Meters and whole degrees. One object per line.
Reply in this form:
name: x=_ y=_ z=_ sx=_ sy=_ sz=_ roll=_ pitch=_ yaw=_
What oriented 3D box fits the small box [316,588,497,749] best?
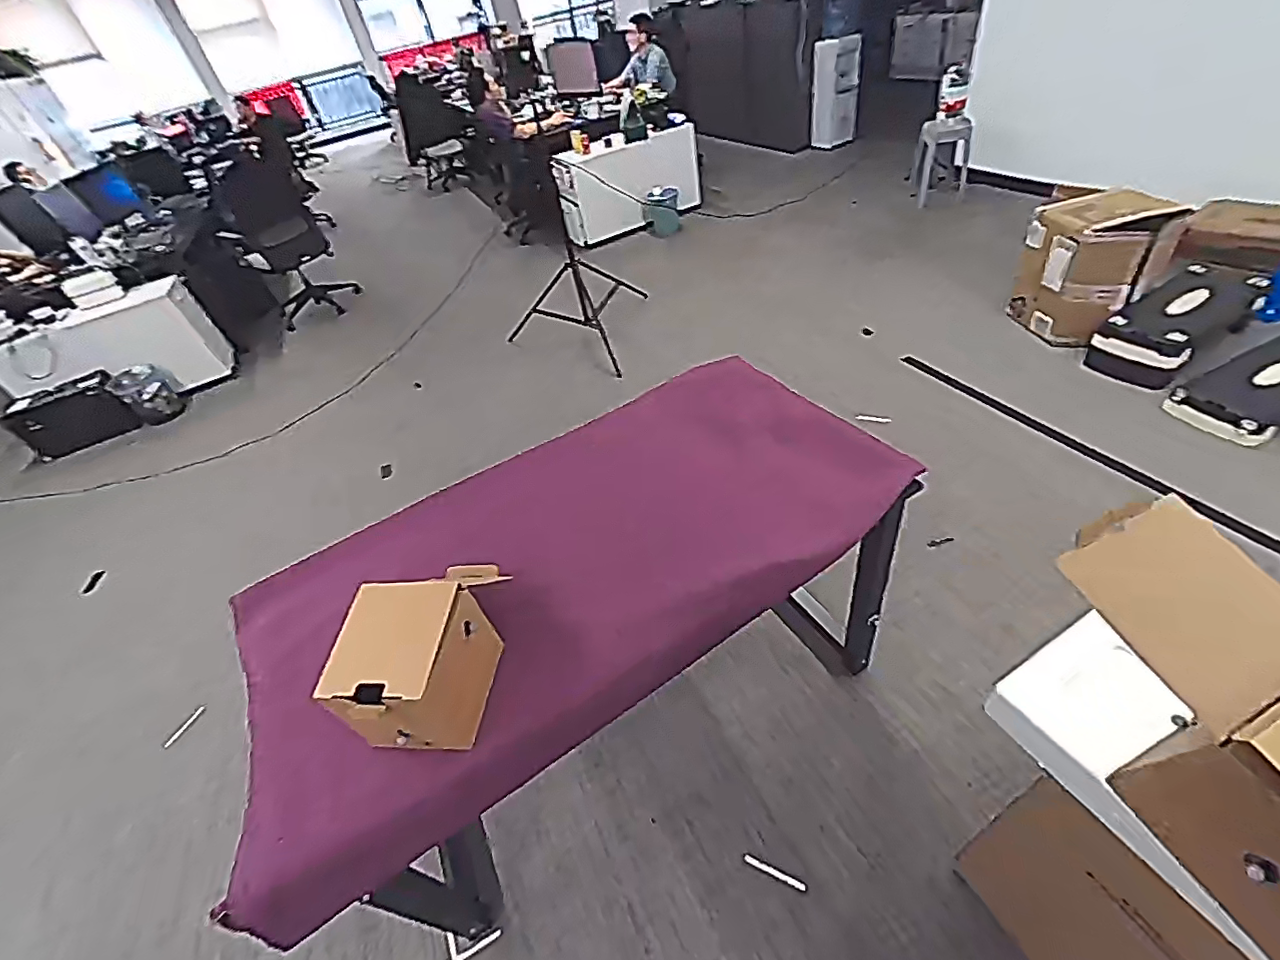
small box: x=-0.336 y=0.284 z=0.824 sx=0.168 sy=0.176 sz=0.179 roll=-4 pitch=43 yaw=11
